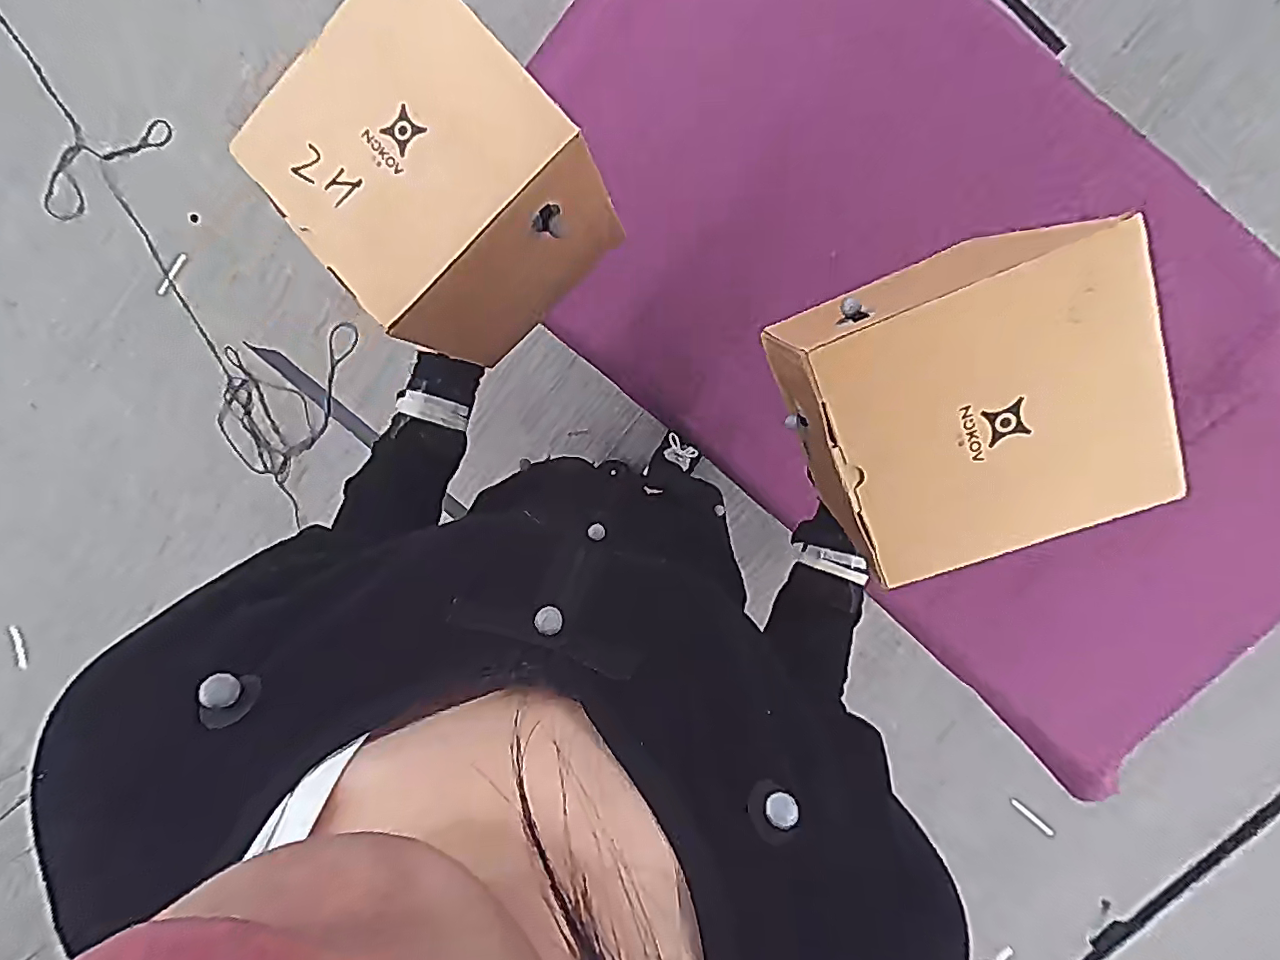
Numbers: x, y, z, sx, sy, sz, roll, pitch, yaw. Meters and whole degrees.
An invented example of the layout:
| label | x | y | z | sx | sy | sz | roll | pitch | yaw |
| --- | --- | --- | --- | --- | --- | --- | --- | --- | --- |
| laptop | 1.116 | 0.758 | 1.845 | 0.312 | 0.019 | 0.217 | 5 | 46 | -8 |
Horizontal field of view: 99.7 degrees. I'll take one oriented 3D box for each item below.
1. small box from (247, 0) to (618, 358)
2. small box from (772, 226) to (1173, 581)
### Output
| label | x | y | z | sx | sy | sz | roll | pitch | yaw |
| --- | --- | --- | --- | --- | --- | --- | --- | --- | --- |
| small box | -0.133 | -0.220 | 0.418 | 0.179 | 0.176 | 0.168 | -41 | 87 | 9 |
| small box | 0.214 | -0.061 | 0.391 | 0.179 | 0.176 | 0.168 | -21 | 107 | 12 |
